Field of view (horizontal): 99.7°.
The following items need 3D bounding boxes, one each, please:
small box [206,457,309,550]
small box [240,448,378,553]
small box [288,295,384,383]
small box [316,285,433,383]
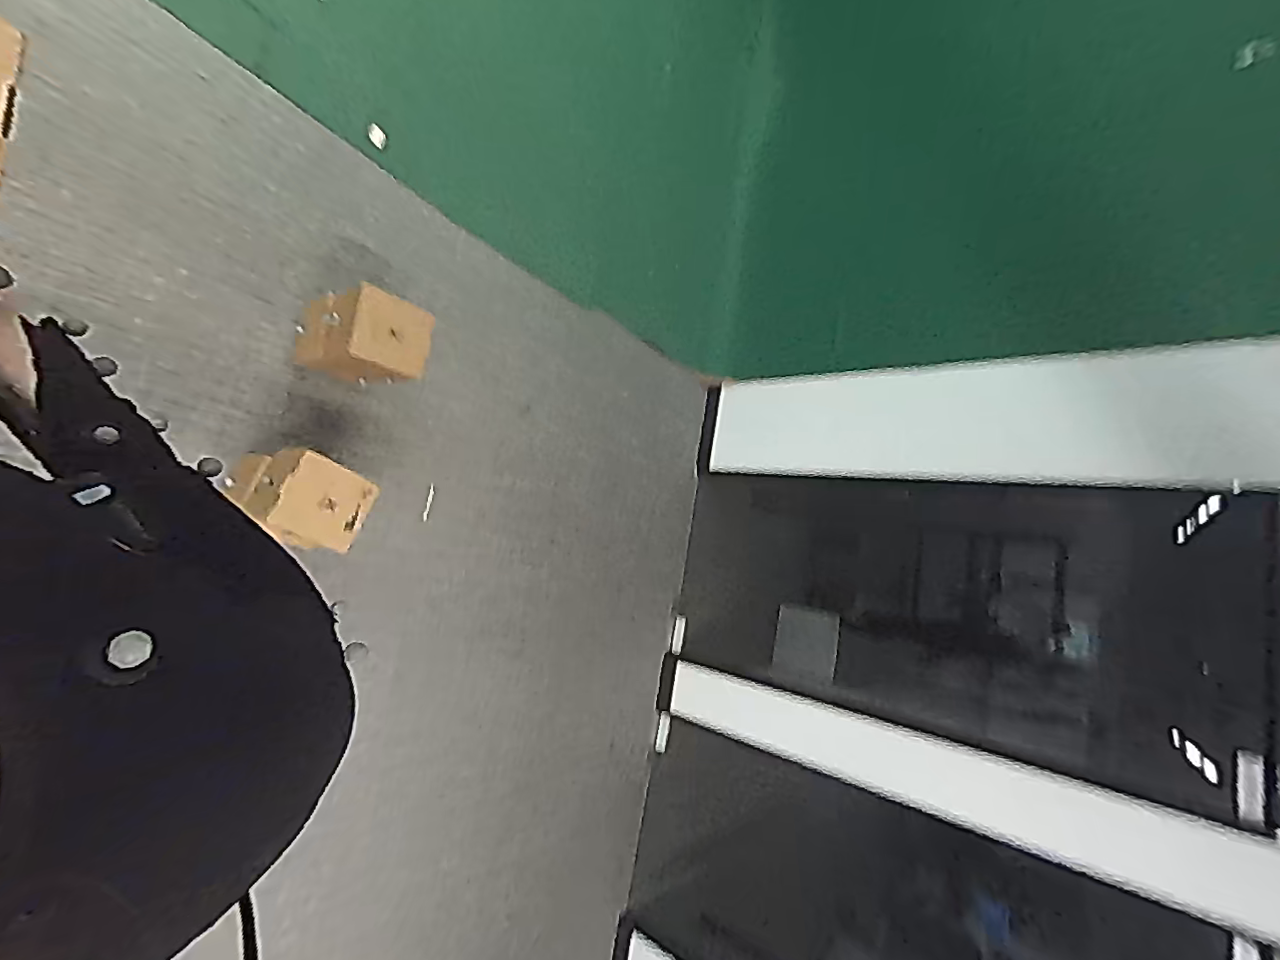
[{"bbox_3d":[-0.862,0.052,1.268,0.179,0.176,0.168,36,65,-46],"label":"small box"},{"bbox_3d":[-0.723,0.045,1.179,0.179,0.176,0.168,41,61,-44],"label":"small box"},{"bbox_3d":[-0.753,-0.349,1.374,0.179,0.176,0.168,16,80,-51],"label":"small box"},{"bbox_3d":[-0.625,-0.334,1.276,0.179,0.176,0.168,17,79,-51],"label":"small box"}]
